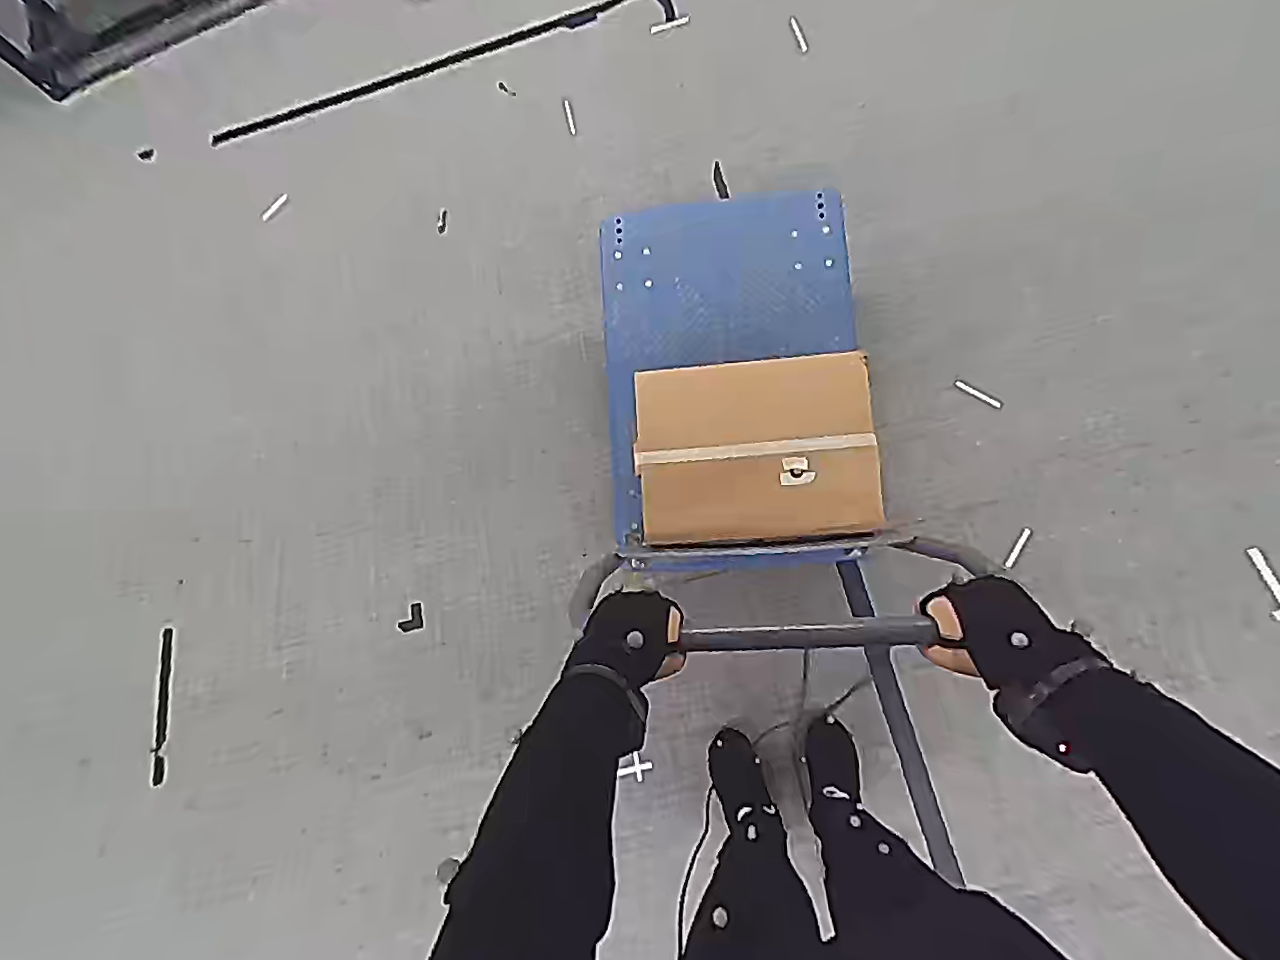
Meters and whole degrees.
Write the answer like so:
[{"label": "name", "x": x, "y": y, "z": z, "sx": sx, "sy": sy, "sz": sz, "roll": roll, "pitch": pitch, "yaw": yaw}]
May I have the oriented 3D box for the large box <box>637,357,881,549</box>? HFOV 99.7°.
[{"label": "large box", "x": 0.218, "y": -0.033, "z": 1.103, "sx": 0.408, "sy": 0.320, "sz": 0.320, "roll": -5, "pitch": 85, "yaw": 6}]
